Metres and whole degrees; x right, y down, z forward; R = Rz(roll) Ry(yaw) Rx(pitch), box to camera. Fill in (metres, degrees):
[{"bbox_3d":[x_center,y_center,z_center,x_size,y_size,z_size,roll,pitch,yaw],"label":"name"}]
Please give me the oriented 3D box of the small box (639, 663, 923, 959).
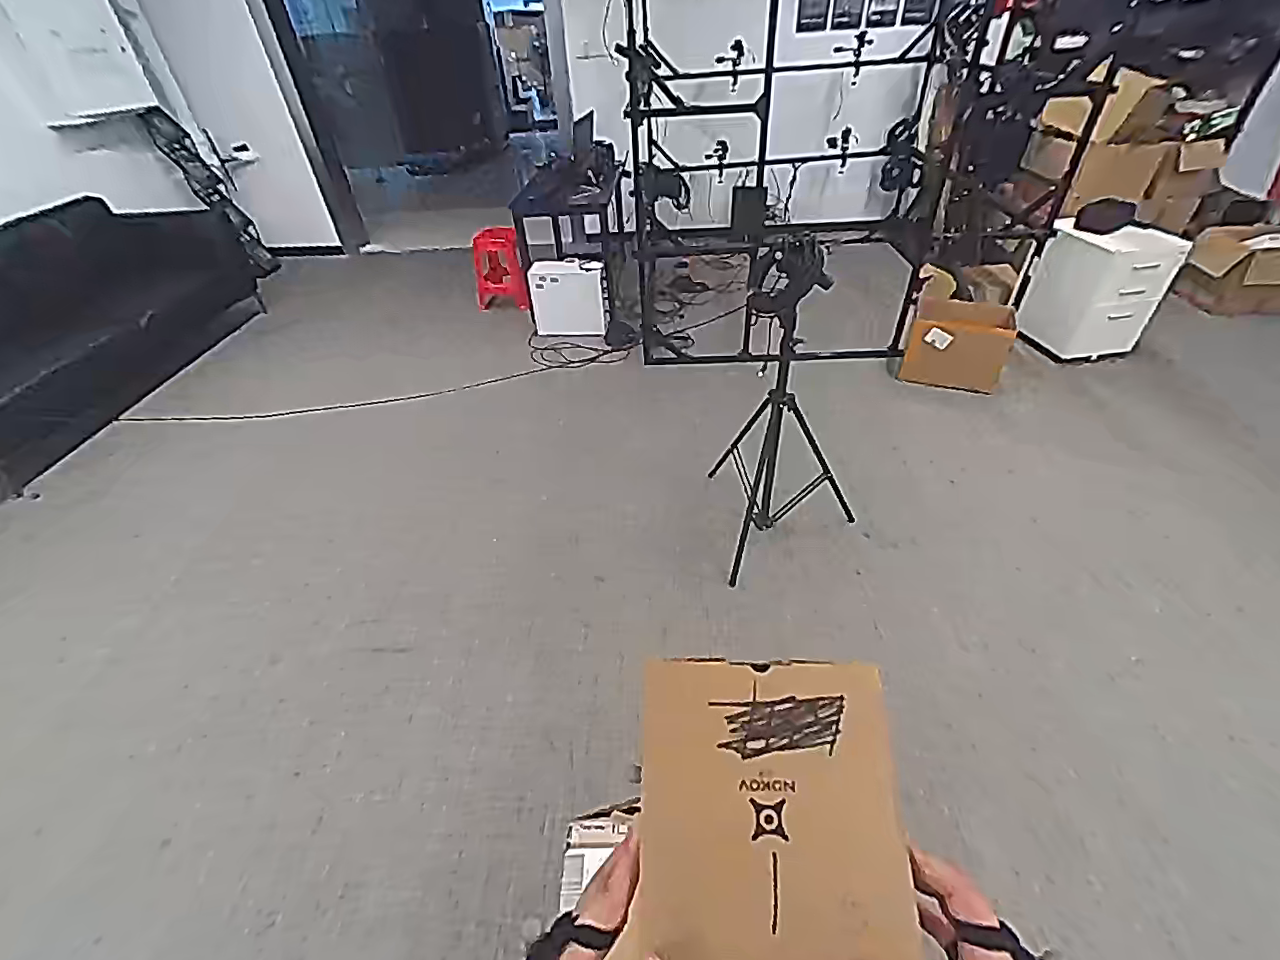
[{"bbox_3d":[0.084,0.246,0.415,0.168,0.176,0.179,0,63,2],"label":"small box"}]
